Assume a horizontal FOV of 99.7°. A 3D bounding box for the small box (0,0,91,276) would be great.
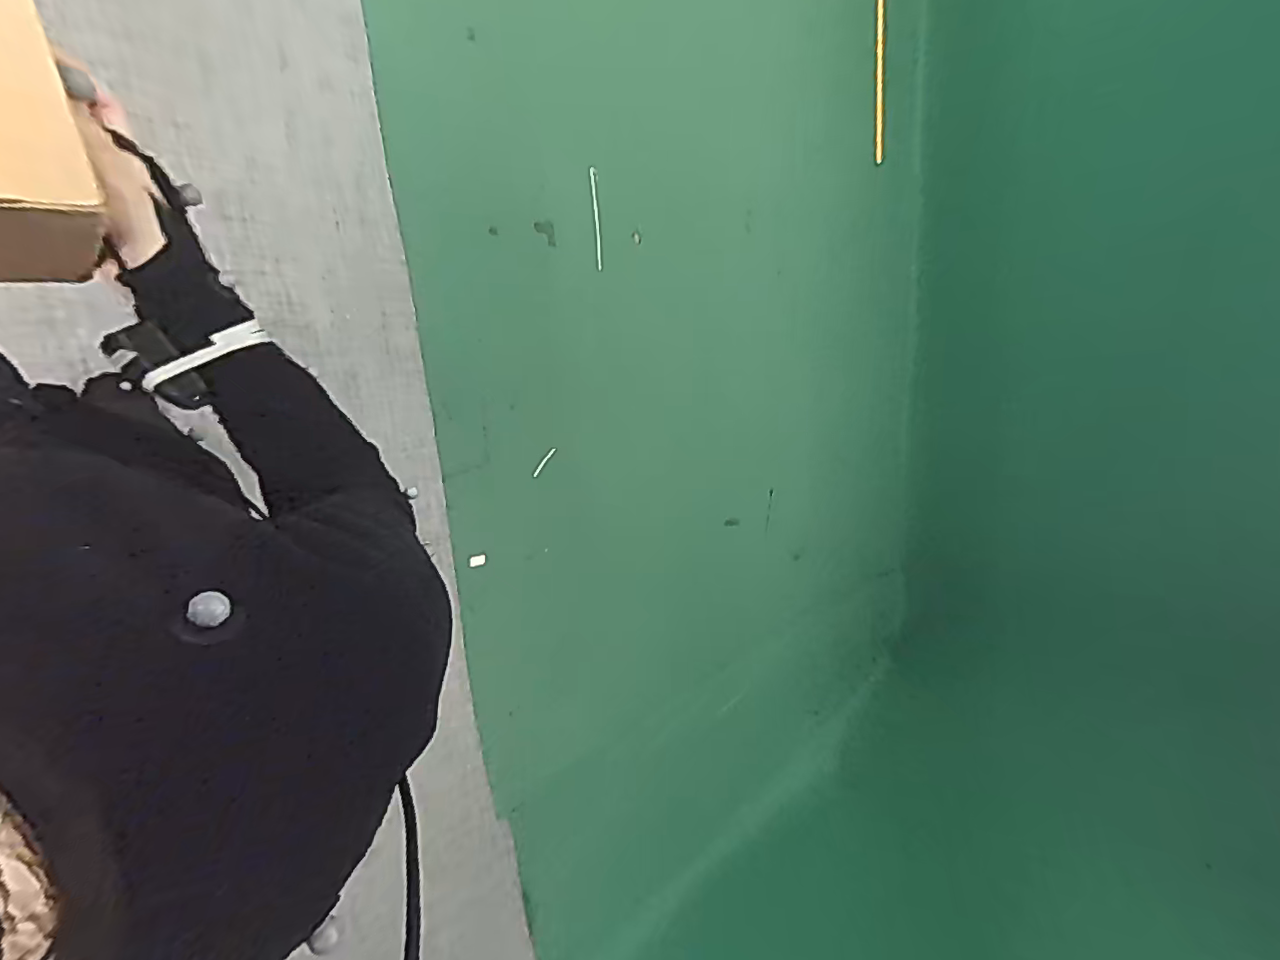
[{"bbox_3d":[-0.416,-0.208,0.261,0.168,0.176,0.179,-22,110,-47],"label":"small box"}]
